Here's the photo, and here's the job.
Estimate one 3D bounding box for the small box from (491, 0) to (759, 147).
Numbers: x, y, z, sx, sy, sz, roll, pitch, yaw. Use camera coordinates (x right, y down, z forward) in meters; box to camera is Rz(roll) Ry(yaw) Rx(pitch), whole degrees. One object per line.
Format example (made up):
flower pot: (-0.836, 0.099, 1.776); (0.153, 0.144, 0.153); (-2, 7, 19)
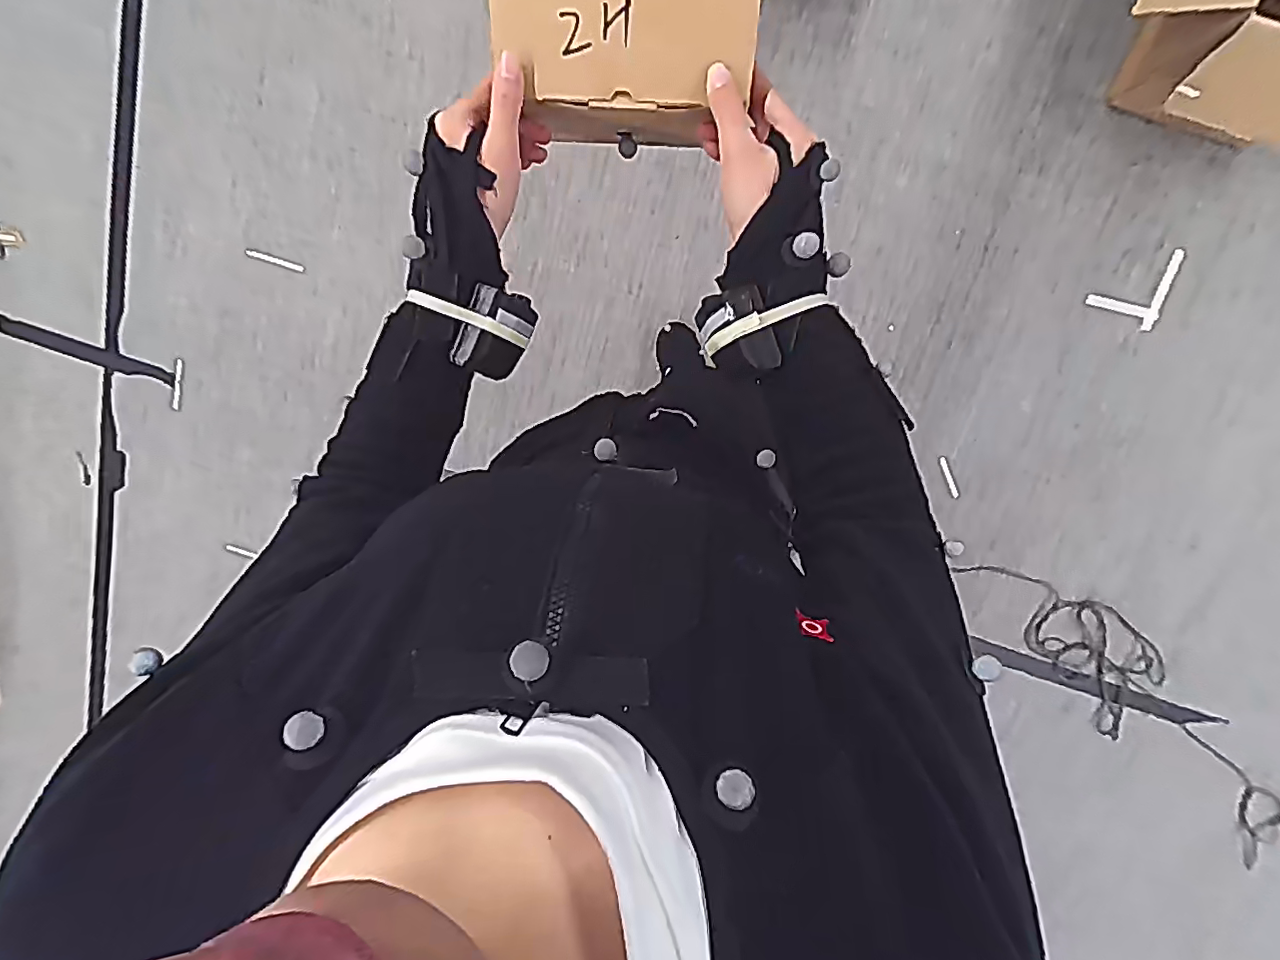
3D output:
small box: (-0.006, -0.356, 0.385); (0.168, 0.176, 0.179); (3, 114, 0)
